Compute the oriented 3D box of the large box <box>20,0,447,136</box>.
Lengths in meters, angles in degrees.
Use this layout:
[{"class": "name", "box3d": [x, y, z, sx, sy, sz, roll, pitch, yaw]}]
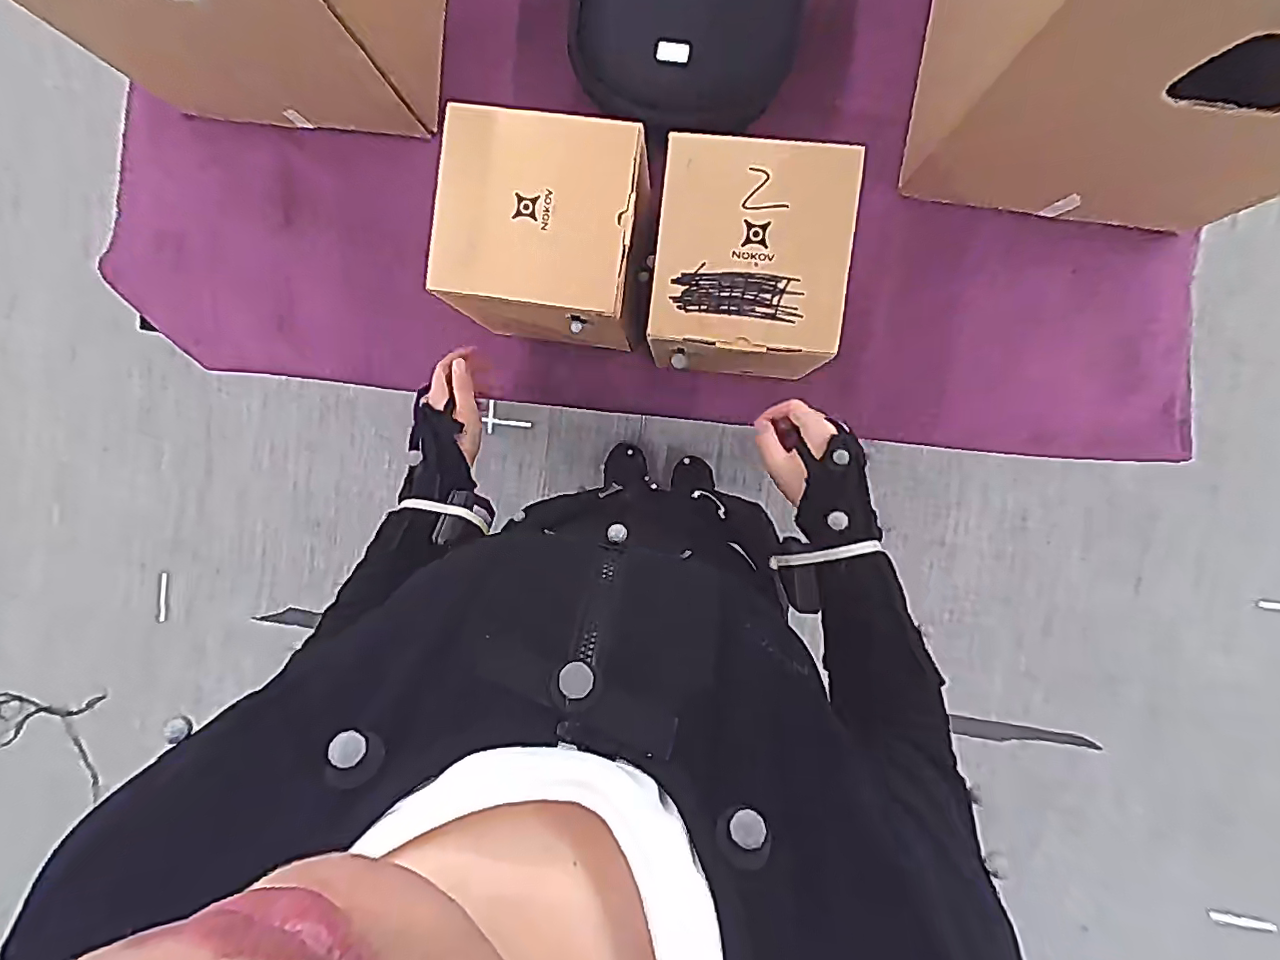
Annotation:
[{"class": "large box", "box3d": [-0.373, -0.601, 0.476, 0.320, 0.320, 0.408, 5, 97, 2]}]
